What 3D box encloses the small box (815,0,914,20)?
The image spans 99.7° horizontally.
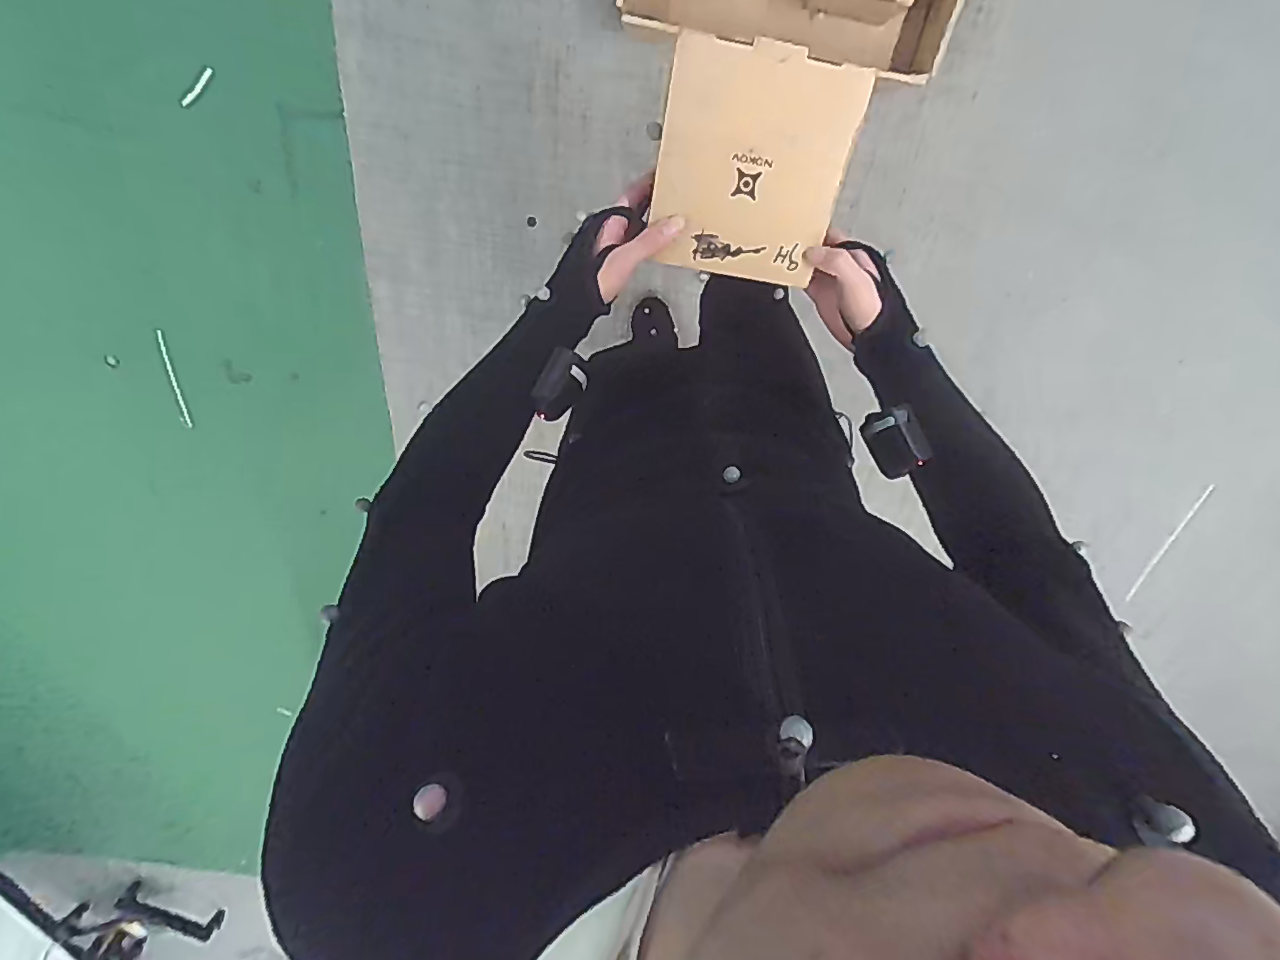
[{"bbox_3d":[0.422,-0.961,0.966,0.168,0.176,0.179,10,119,-1],"label":"small box"}]

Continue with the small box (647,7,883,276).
[{"bbox_3d":[0.099,-0.321,0.531,0.168,0.176,0.179,8,123,-4],"label":"small box"}]

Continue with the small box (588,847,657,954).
[{"bbox_3d":[-0.044,1.122,1.445,0.168,0.176,0.179,5,120,1],"label":"small box"}]
